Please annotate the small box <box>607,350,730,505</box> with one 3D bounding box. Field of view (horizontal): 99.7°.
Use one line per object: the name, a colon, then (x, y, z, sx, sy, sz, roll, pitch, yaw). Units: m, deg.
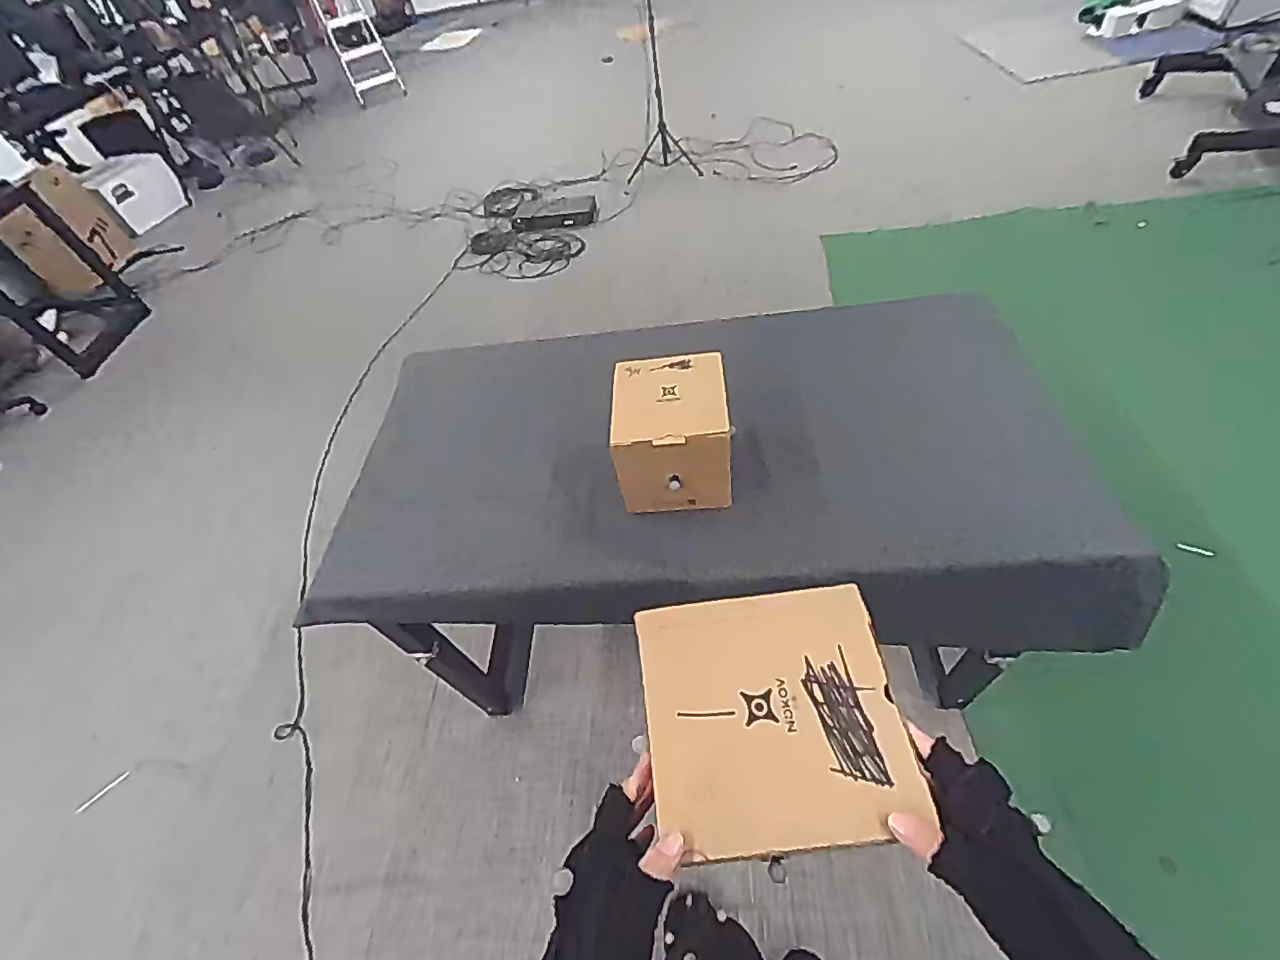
small box: (0.050, -0.073, 0.844, 0.168, 0.176, 0.179, -5, 52, 8)
